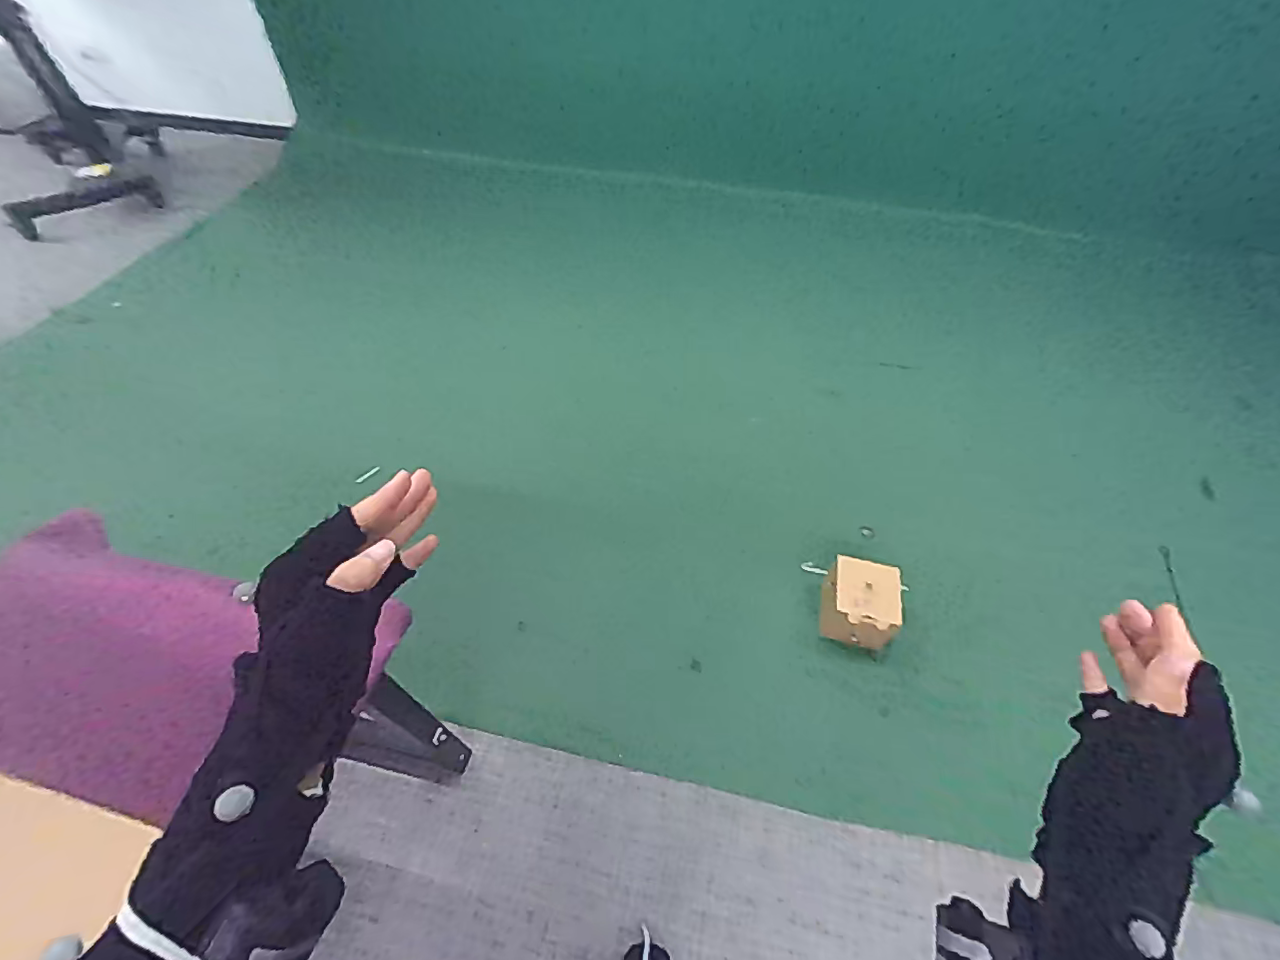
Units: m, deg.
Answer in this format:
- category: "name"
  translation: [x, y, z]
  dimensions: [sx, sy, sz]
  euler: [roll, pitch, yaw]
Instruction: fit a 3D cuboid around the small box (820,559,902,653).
- category: "small box"
  translation: [0.606, 0.349, 1.493]
  dimensions: [0.168, 0.176, 0.179]
  euler: [13, 53, 8]
